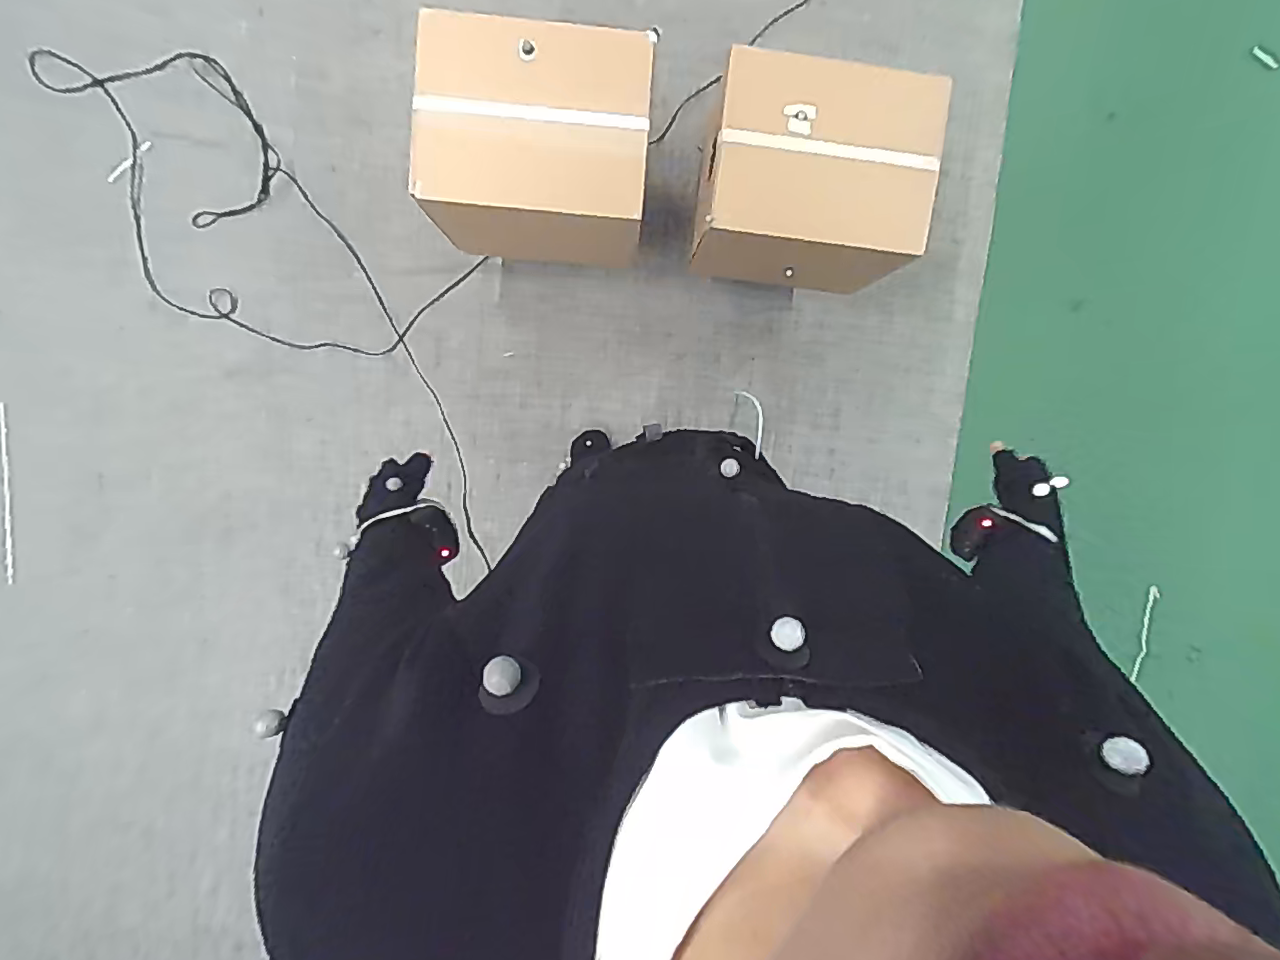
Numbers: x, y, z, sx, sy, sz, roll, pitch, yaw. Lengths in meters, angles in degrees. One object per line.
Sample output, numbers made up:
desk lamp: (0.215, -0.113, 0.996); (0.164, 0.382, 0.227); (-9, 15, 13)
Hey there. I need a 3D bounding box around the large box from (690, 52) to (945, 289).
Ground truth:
large box: (0.337, -0.609, 1.132); (0.408, 0.320, 0.320); (7, 95, -3)
